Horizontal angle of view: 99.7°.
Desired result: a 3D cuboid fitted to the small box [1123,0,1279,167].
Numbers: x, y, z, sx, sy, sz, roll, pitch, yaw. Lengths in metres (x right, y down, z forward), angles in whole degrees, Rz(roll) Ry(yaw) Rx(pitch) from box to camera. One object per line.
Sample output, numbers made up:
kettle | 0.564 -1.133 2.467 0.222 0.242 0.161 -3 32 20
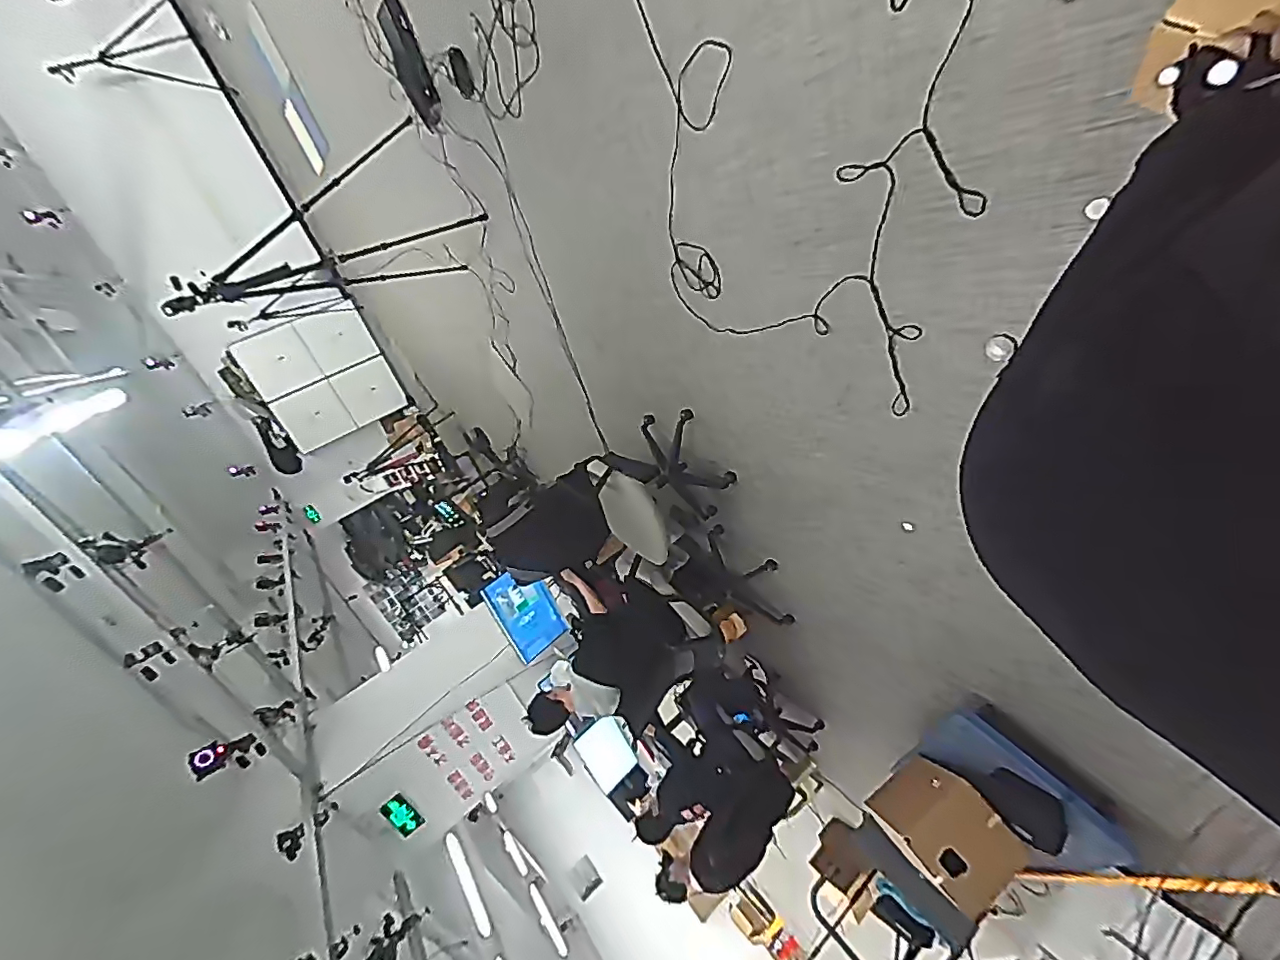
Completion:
small box | 0.601 -0.426 0.486 0.168 0.179 0.176 42 118 23
